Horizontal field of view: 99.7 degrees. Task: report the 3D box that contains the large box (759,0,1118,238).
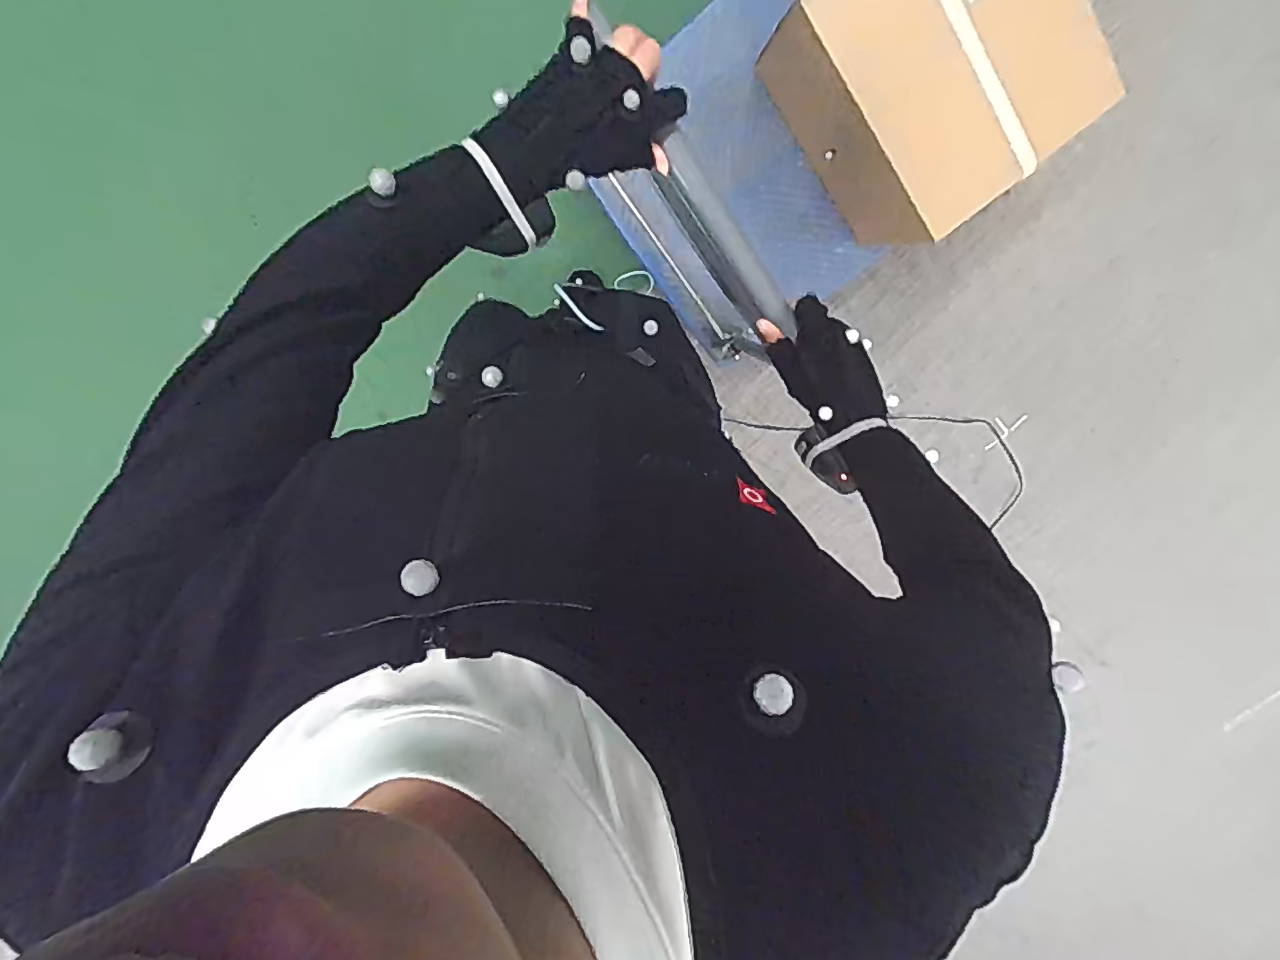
[{"bbox_3d":[0.462,-0.679,0.909,0.320,0.320,0.408,-37,108,13],"label":"large box"}]
